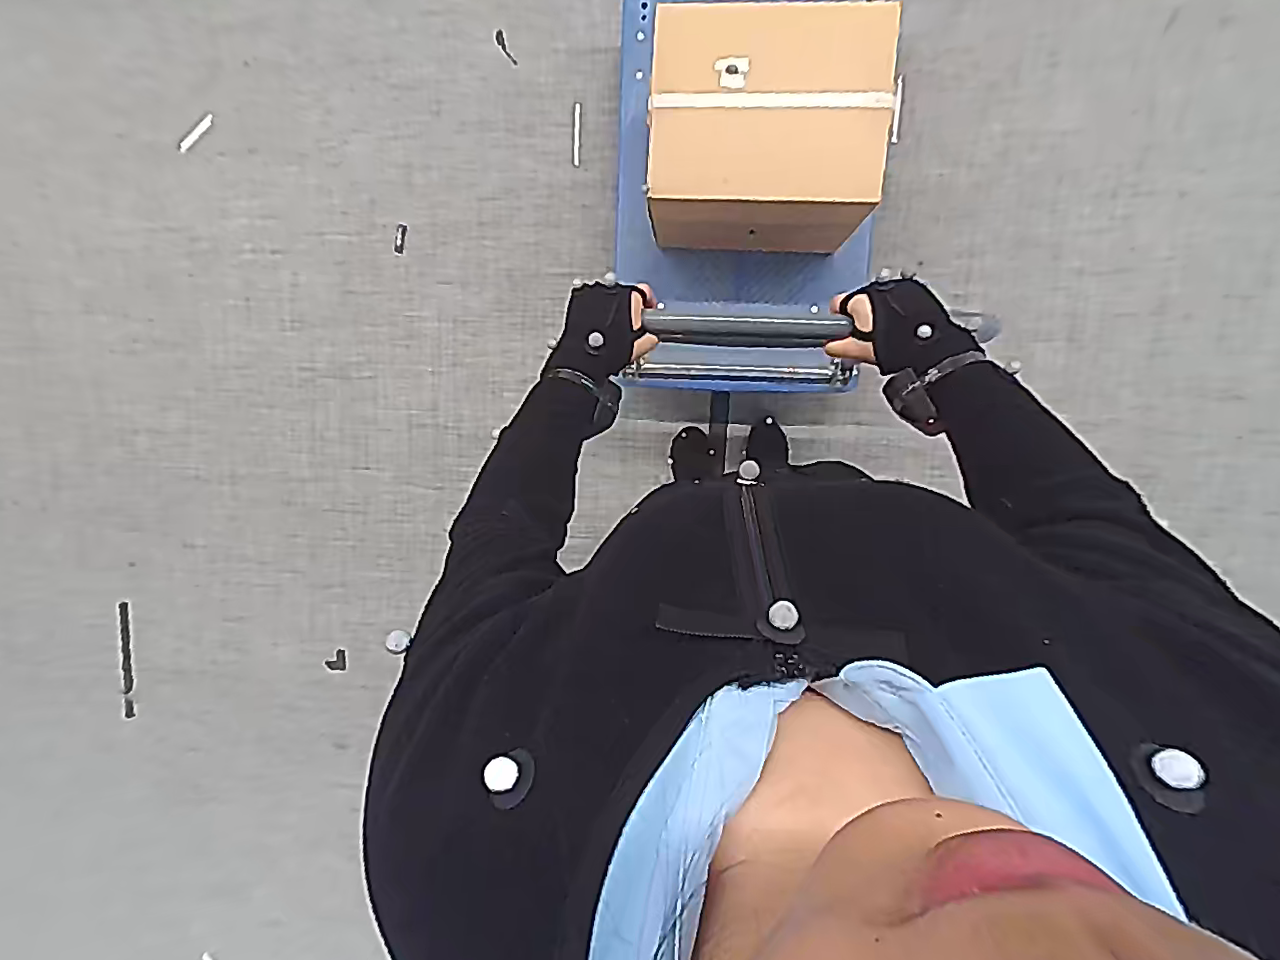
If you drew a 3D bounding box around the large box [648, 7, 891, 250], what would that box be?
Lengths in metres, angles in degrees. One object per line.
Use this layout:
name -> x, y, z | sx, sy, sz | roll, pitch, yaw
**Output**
large box -> 0.235, -0.661, 1.082 | 0.408, 0.320, 0.320 | 4, 97, 6
